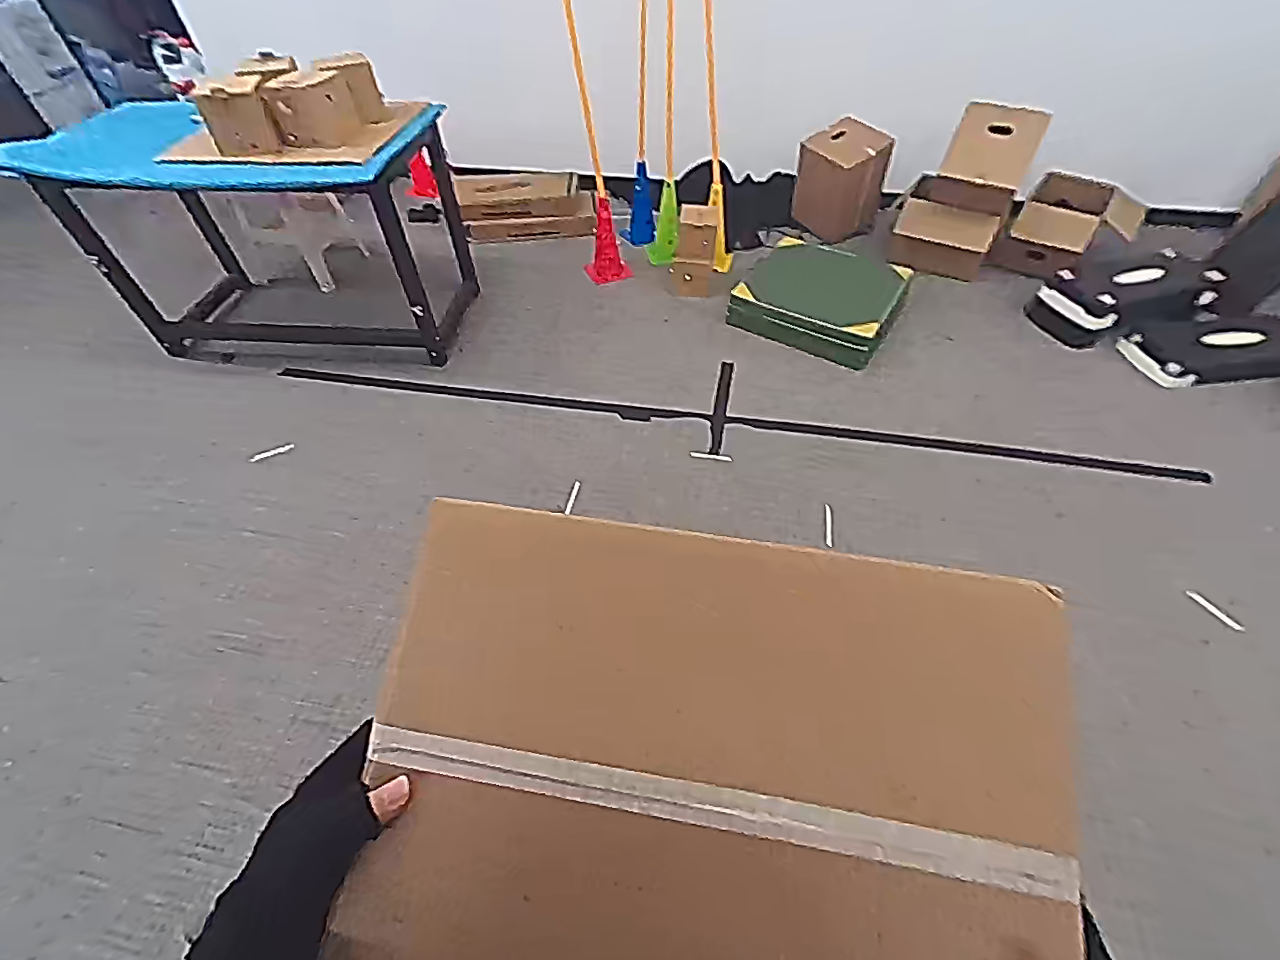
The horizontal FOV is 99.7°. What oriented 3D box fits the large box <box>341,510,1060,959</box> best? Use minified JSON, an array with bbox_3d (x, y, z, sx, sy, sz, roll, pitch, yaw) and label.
[{"bbox_3d":[0.048,0.229,0.468,0.408,0.320,0.320,8,76,7],"label":"large box"}]
